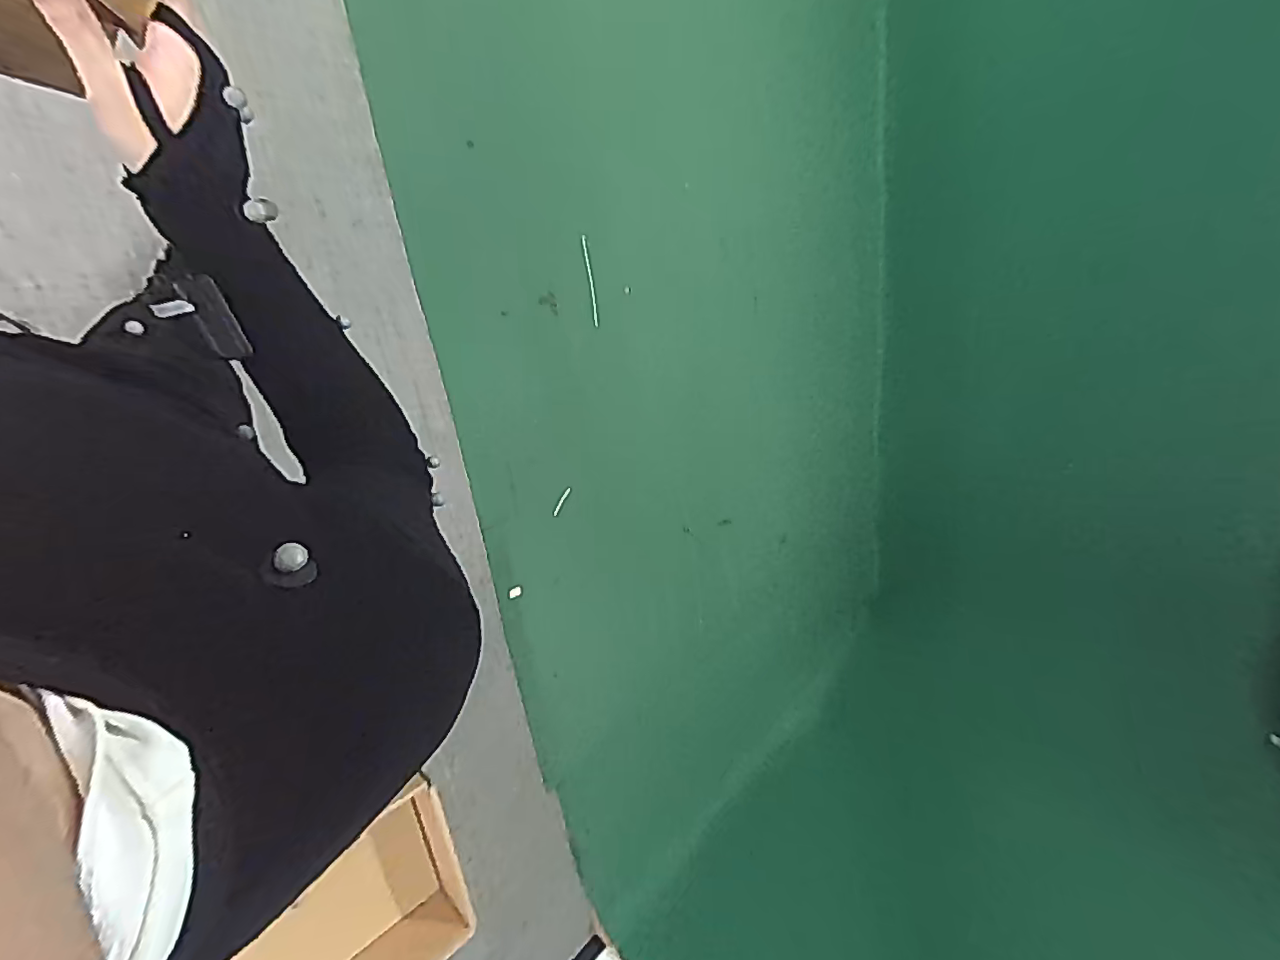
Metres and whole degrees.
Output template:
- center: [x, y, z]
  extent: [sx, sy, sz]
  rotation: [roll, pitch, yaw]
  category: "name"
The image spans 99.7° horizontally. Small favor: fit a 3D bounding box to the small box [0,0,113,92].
- center: [-0.432, -0.372, 0.306]
  extent: [0.168, 0.176, 0.179]
  rotation: [-9, 103, -48]
  category: "small box"
